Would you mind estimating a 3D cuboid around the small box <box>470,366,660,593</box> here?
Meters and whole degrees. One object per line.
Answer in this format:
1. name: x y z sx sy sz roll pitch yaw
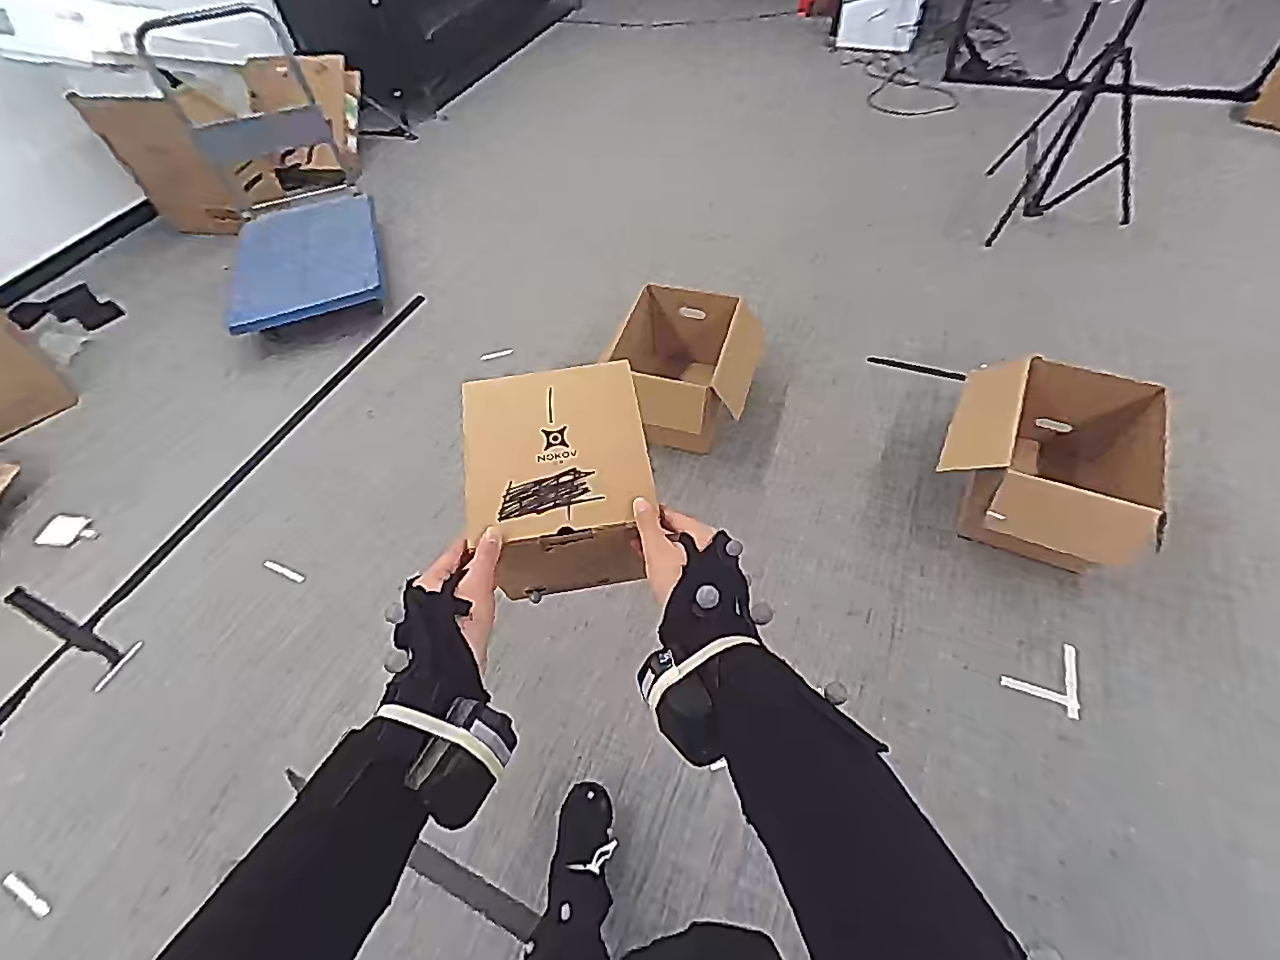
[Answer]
1. small box: -0.073 0.010 0.568 0.168 0.176 0.179 -9 62 -4
